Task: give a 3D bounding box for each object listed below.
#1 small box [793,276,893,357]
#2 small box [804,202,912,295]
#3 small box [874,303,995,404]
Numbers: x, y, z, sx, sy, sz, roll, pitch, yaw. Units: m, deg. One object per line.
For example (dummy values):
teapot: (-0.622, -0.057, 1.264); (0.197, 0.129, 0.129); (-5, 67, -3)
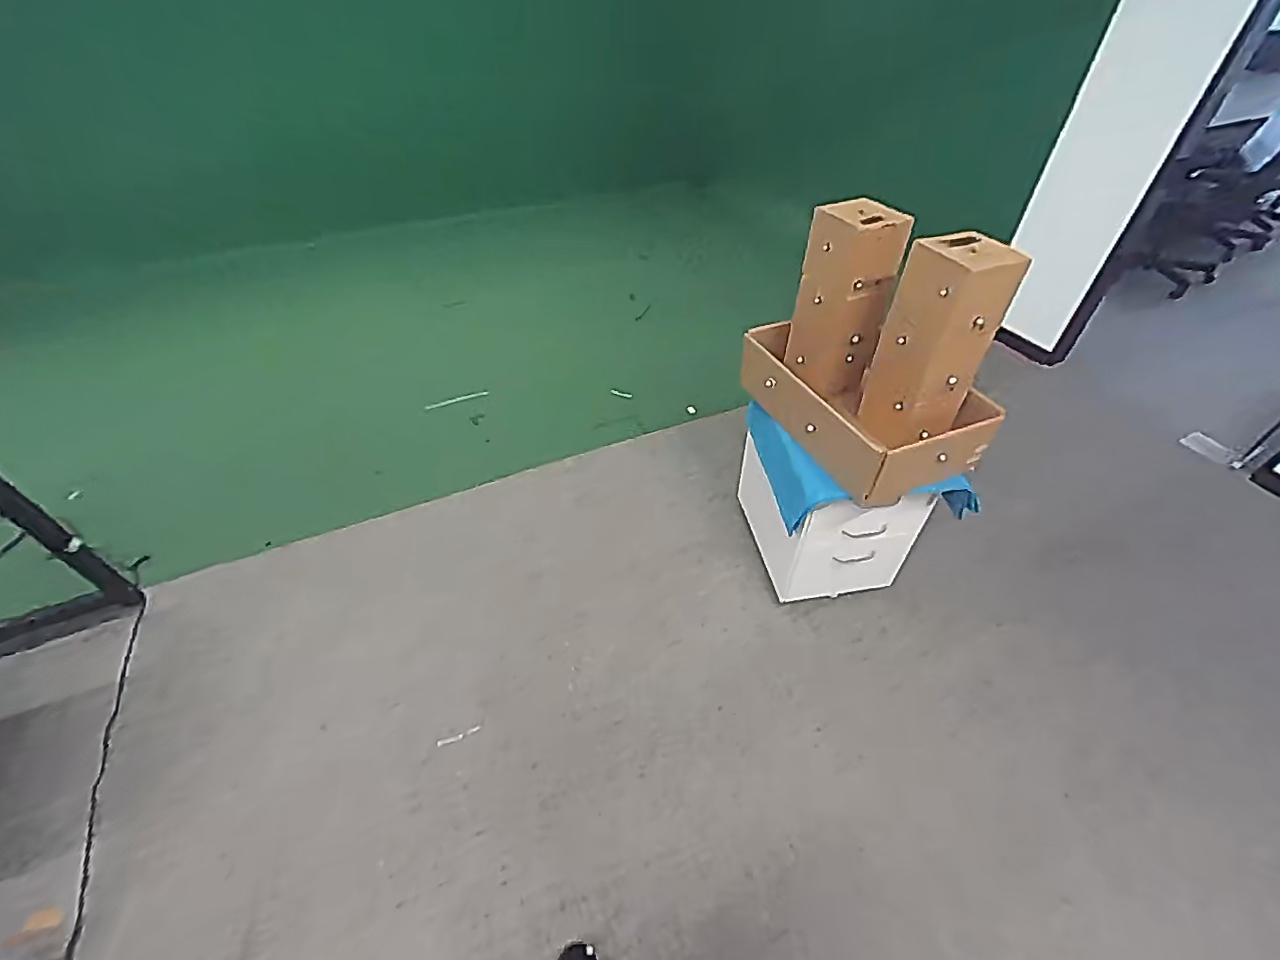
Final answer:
small box: (0.549, -0.465, 1.493); (0.168, 0.176, 0.179); (-21, 49, -20)
small box: (0.548, -0.587, 1.383); (0.168, 0.176, 0.179); (-18, 47, -17)
small box: (0.712, -0.312, 1.336); (0.168, 0.176, 0.179); (-15, 46, -14)
